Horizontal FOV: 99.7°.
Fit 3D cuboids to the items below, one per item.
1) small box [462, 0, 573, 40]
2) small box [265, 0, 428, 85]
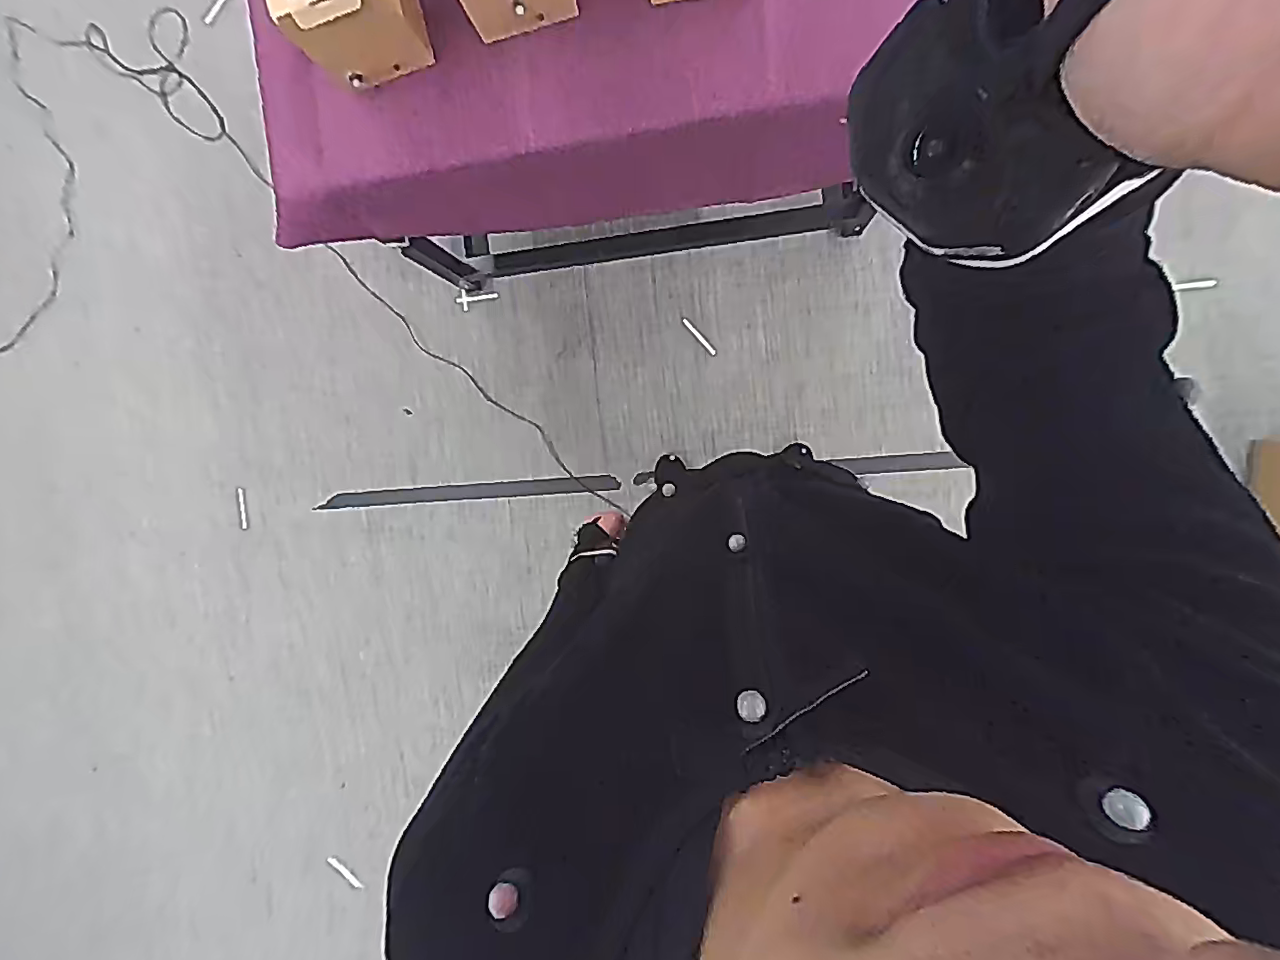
[{"bbox_3d":[-0.208,-0.813,0.797,0.168,0.176,0.179,-10,93,9],"label":"small box"},{"bbox_3d":[-0.456,-0.757,0.834,0.168,0.176,0.179,-14,92,8],"label":"small box"}]
